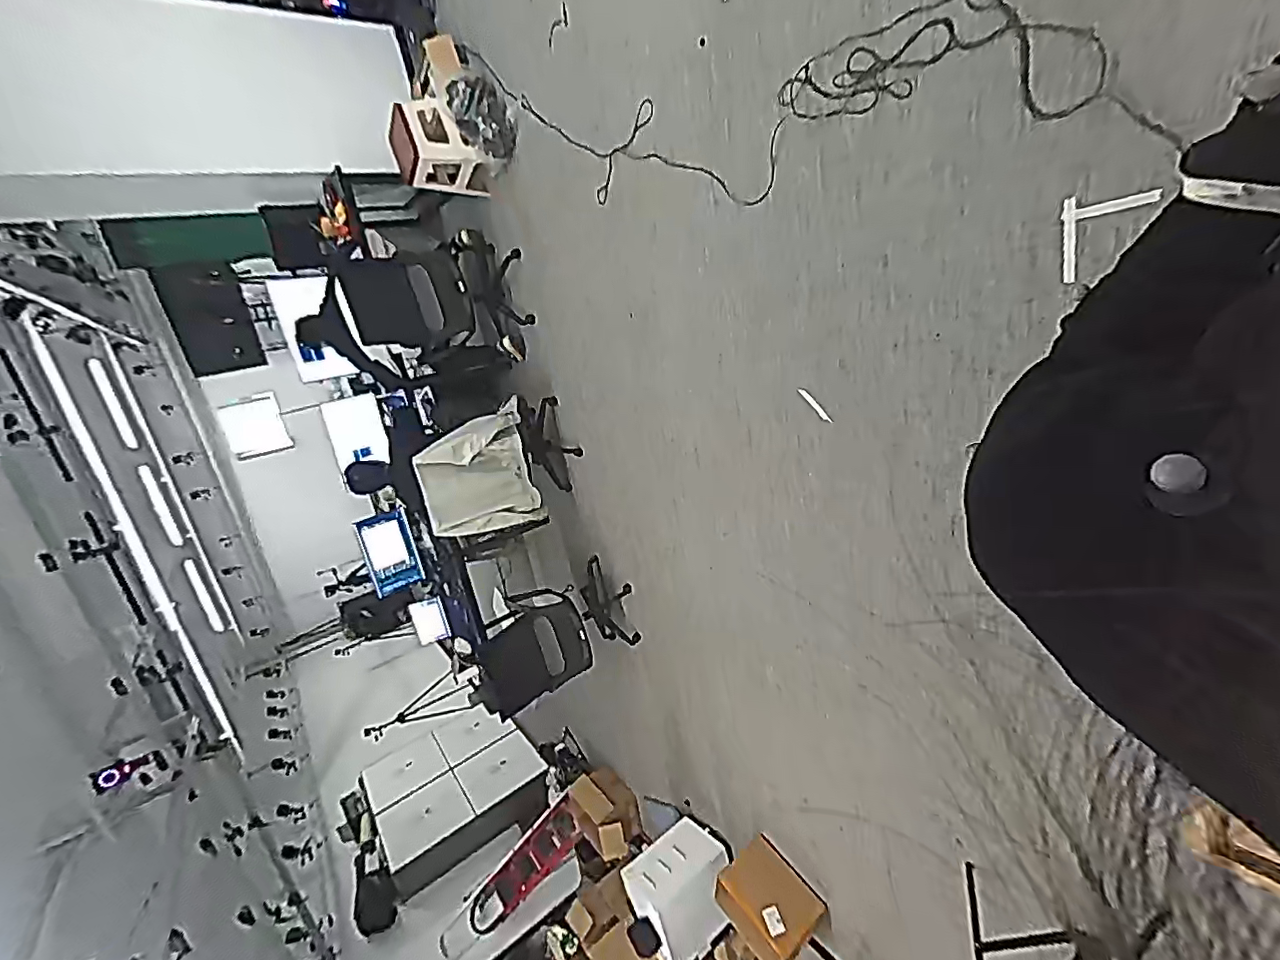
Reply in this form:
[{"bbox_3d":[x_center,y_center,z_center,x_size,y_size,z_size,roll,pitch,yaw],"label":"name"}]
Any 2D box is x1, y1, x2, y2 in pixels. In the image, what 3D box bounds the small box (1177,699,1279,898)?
[{"bbox_3d":[0.890,0.446,0.741,0.168,0.176,0.179,22,124,47],"label":"small box"}]
